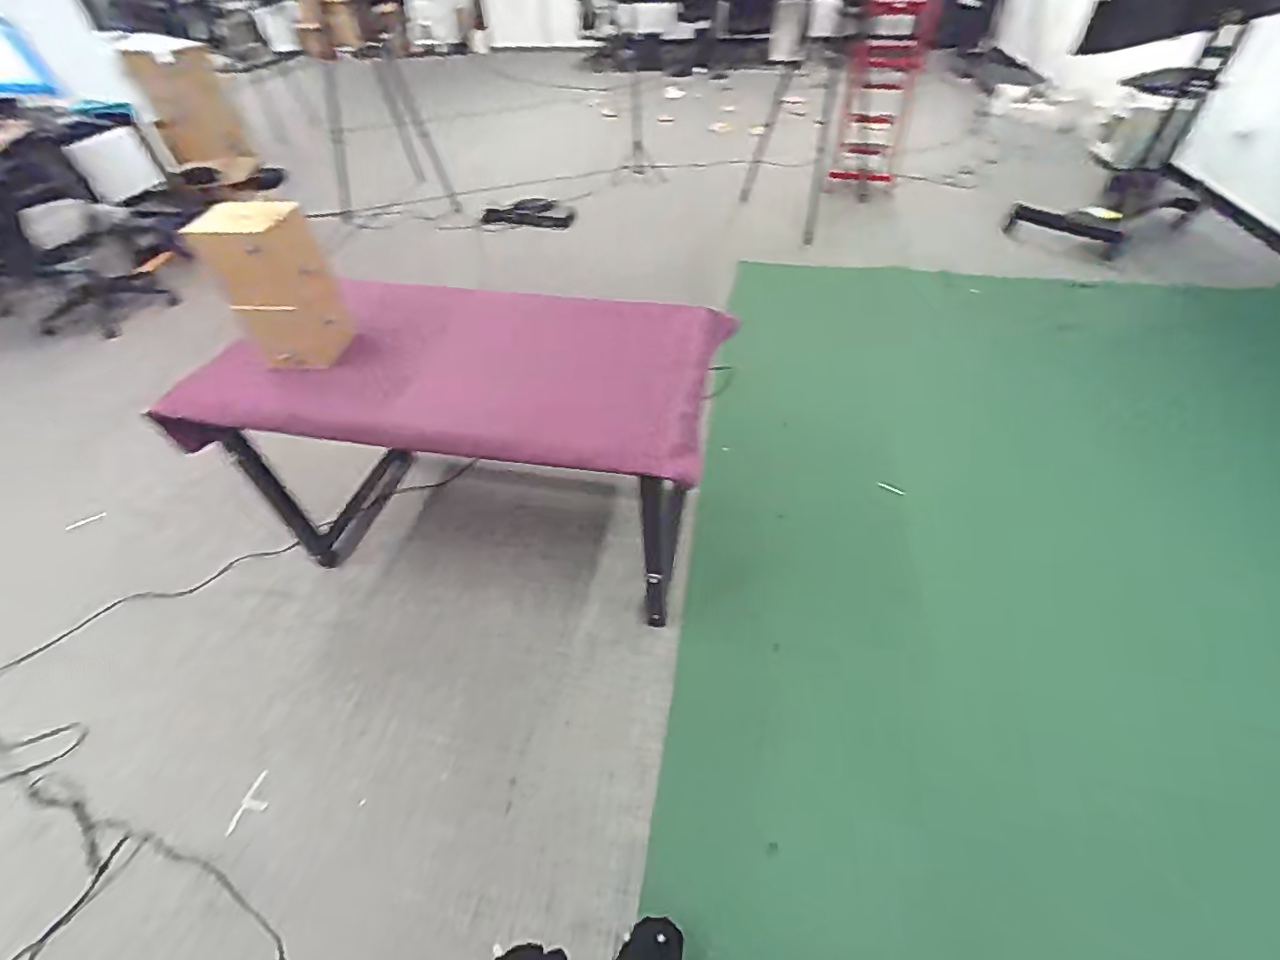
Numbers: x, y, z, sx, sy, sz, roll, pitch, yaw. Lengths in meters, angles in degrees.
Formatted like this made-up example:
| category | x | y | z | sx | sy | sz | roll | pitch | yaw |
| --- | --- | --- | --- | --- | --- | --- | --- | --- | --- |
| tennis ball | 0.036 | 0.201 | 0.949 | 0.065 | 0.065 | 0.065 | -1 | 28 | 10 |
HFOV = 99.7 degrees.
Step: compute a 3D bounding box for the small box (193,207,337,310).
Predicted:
| category | x | y | z | sx | sy | sz | roll | pitch | yaw |
| --- | --- | --- | --- | --- | --- | --- | --- | --- | --- |
| small box | -0.839 | -0.502 | 1.232 | 0.179 | 0.176 | 0.168 | 1 | 47 | 4 |
